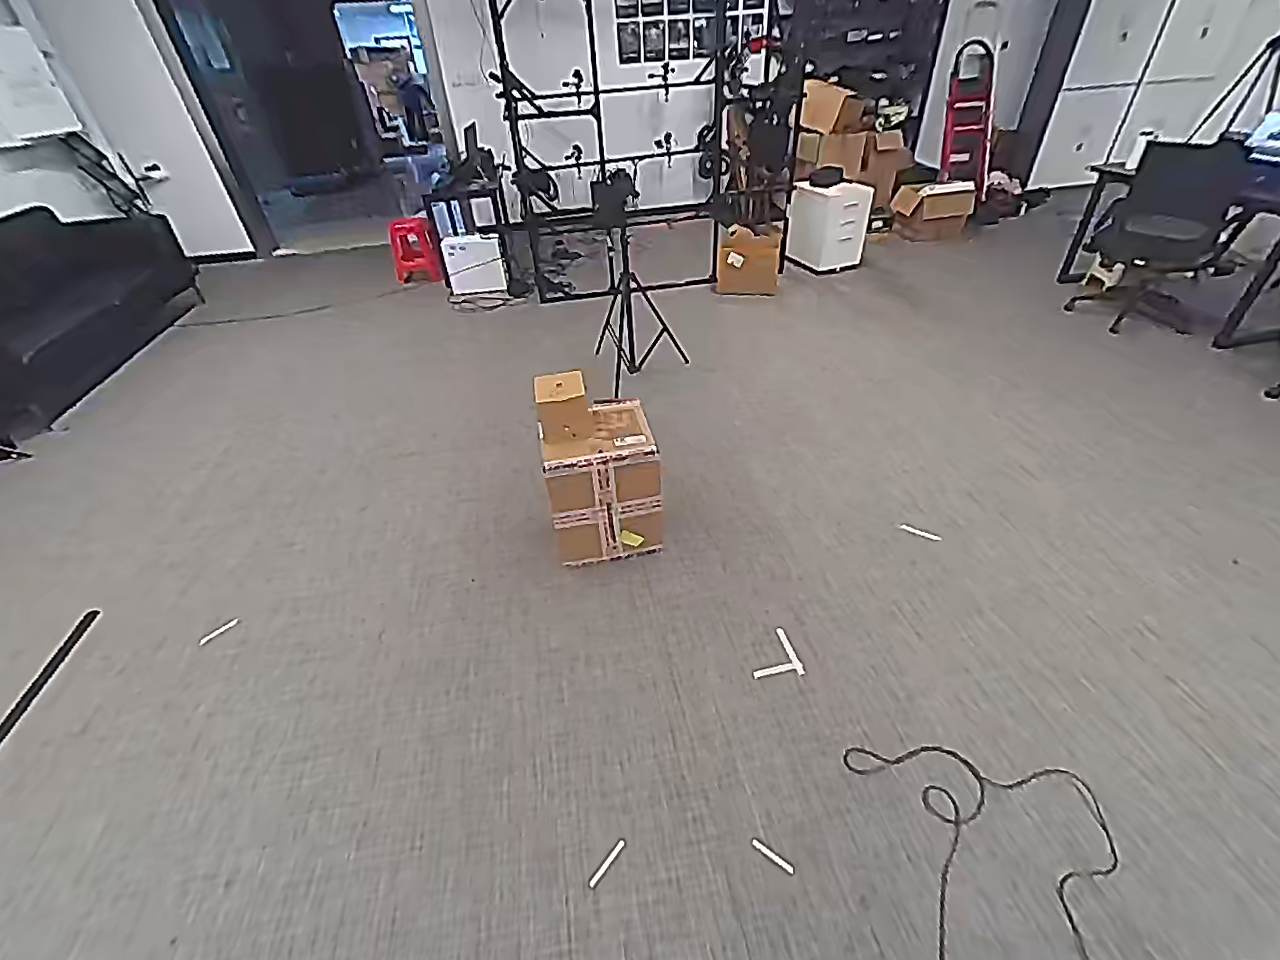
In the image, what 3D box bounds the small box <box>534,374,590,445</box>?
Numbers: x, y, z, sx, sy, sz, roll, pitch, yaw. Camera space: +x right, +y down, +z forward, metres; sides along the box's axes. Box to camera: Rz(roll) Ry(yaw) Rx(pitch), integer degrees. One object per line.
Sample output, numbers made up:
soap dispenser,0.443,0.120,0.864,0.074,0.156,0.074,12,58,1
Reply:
small box,-0.273,-0.246,1.888,0.168,0.176,0.179,-10,41,-5
